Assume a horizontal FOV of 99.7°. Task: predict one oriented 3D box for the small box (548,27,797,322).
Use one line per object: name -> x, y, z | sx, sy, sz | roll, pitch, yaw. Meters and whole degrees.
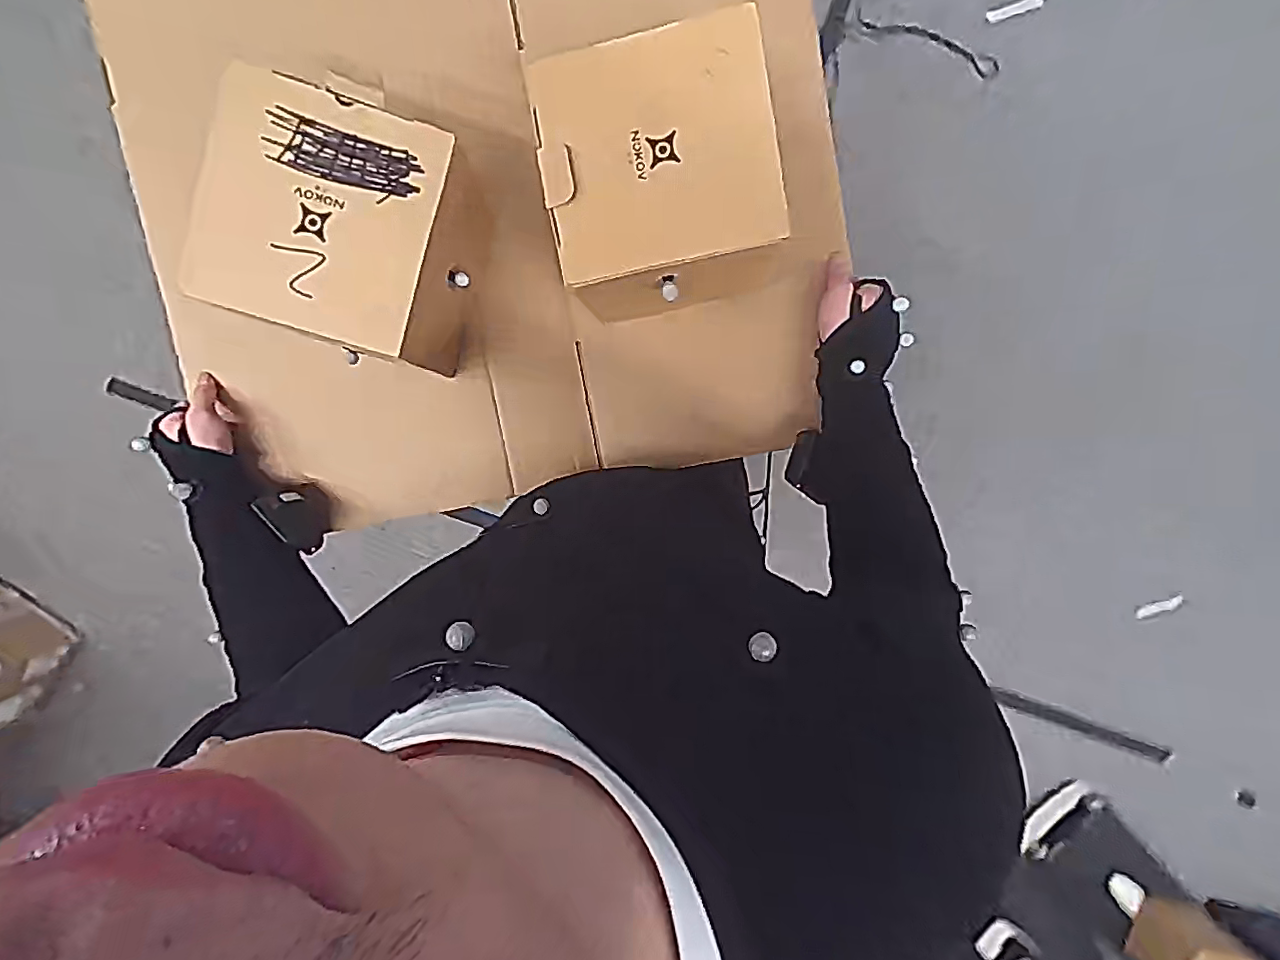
small box -> 0.033, -0.254, 0.497 | 0.179, 0.176, 0.168 | -9, 95, 7
